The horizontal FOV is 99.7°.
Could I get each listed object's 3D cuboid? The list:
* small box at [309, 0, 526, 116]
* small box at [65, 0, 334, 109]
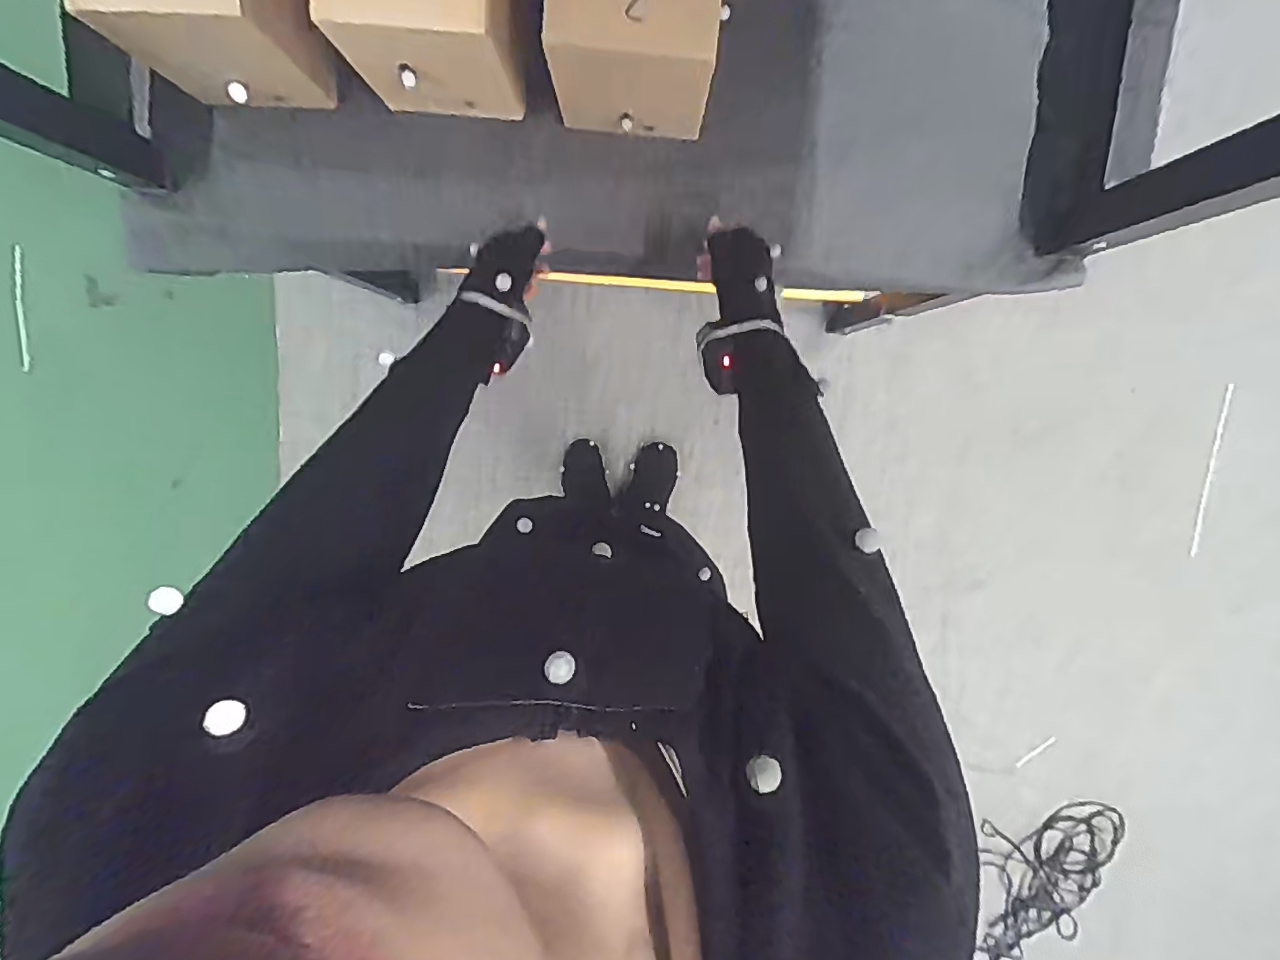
[{"bbox_3d":[-0.218,-0.519,0.567,0.168,0.176,0.179,4,98,-1],"label":"small box"},{"bbox_3d":[-0.445,-0.528,0.562,0.168,0.176,0.179,2,99,0],"label":"small box"}]
